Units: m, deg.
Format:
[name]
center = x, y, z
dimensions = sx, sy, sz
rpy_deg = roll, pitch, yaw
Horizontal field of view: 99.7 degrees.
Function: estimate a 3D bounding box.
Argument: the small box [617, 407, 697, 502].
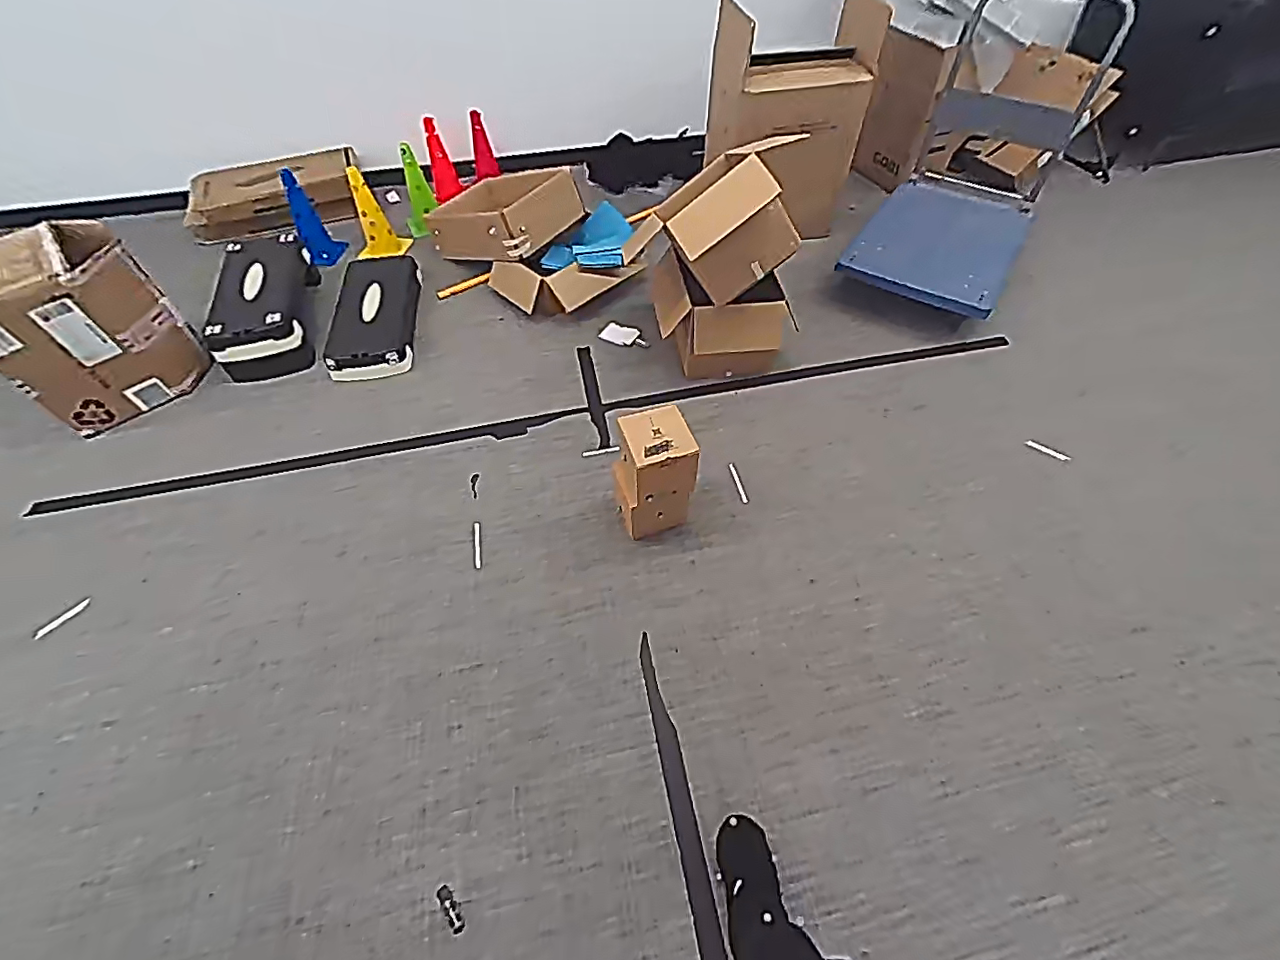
[small box]
center = 0.043, -0.059, 1.428
dimensions = 0.168, 0.176, 0.179
rpy_deg = -14, 53, -10
